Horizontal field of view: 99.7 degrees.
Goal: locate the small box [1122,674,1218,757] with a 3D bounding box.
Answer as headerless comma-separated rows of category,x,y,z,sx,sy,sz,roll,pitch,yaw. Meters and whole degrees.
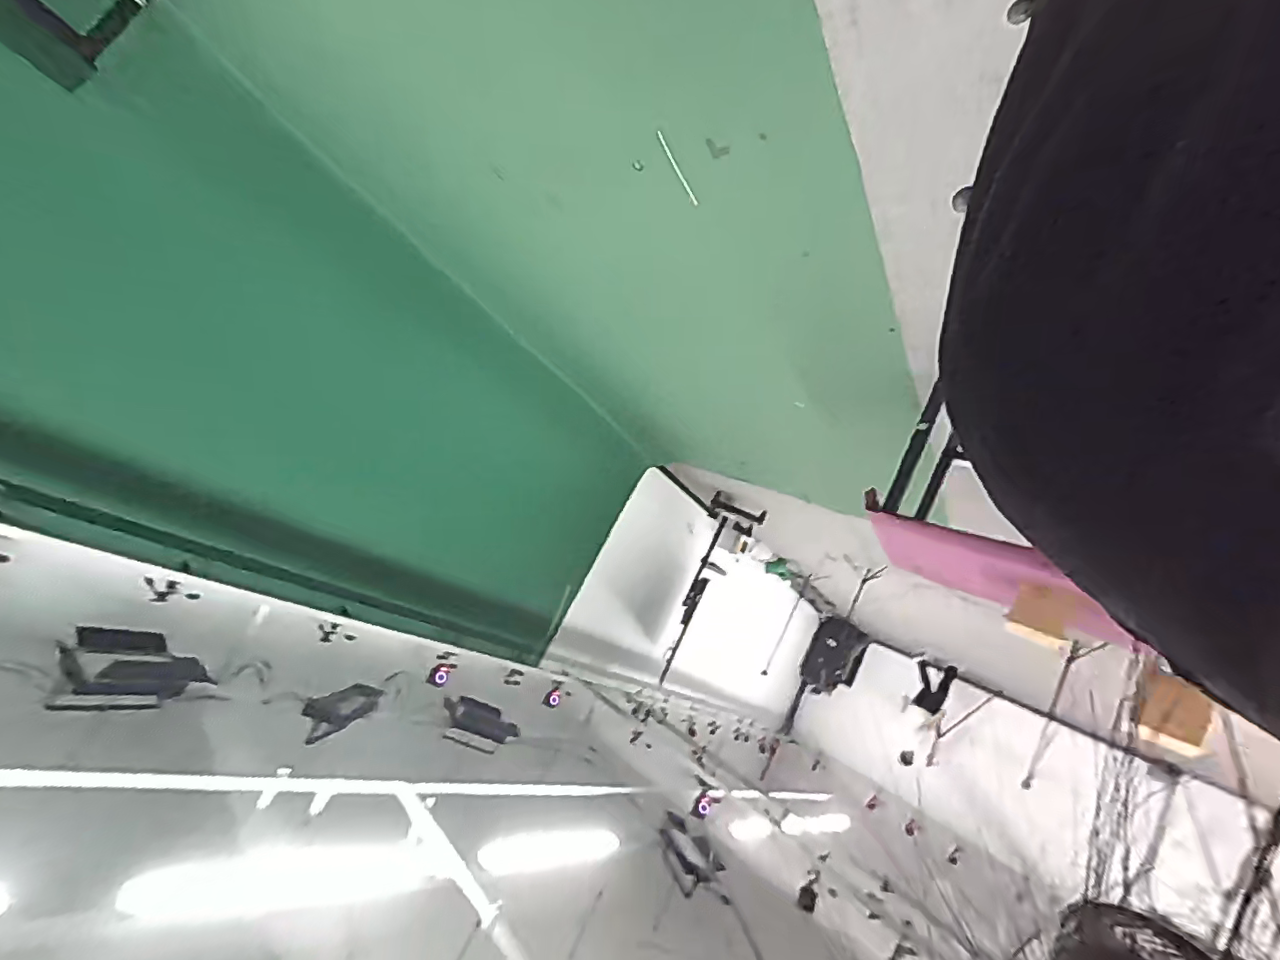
small box,1.621,0.714,1.660,0.179,0.176,0.168,16,163,46

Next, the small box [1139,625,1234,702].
small box,1.703,0.578,1.690,0.179,0.176,0.168,19,165,44

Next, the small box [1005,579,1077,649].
small box,1.422,0.475,1.921,0.168,0.176,0.179,20,166,38
